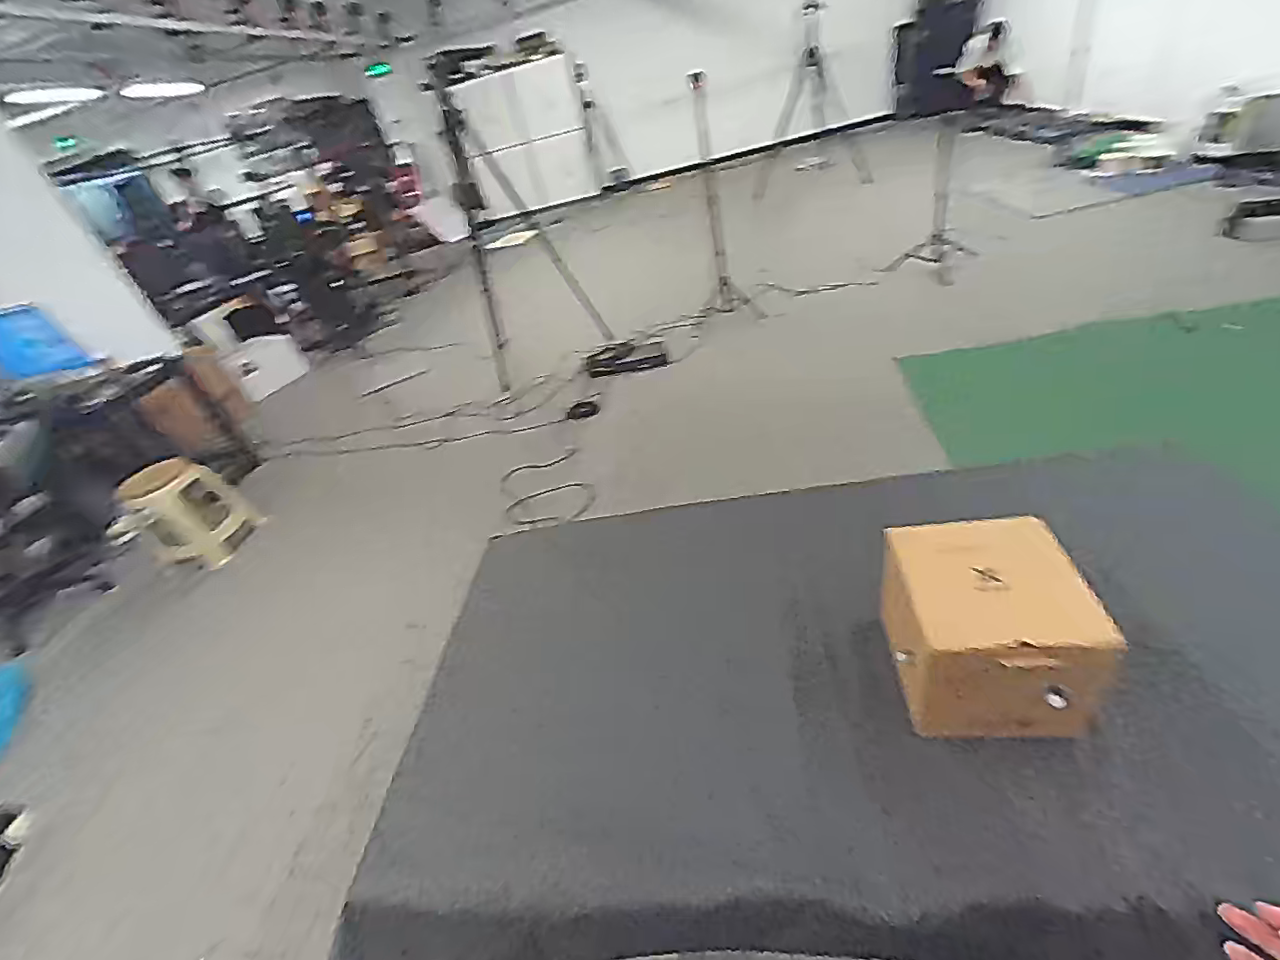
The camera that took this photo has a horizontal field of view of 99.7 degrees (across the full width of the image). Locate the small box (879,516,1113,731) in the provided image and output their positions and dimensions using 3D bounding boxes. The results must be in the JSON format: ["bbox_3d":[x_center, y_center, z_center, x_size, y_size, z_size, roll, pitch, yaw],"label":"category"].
[{"bbox_3d":[0.381,0.167,0.620,0.168,0.176,0.179,-6,36,12],"label":"small box"}]
